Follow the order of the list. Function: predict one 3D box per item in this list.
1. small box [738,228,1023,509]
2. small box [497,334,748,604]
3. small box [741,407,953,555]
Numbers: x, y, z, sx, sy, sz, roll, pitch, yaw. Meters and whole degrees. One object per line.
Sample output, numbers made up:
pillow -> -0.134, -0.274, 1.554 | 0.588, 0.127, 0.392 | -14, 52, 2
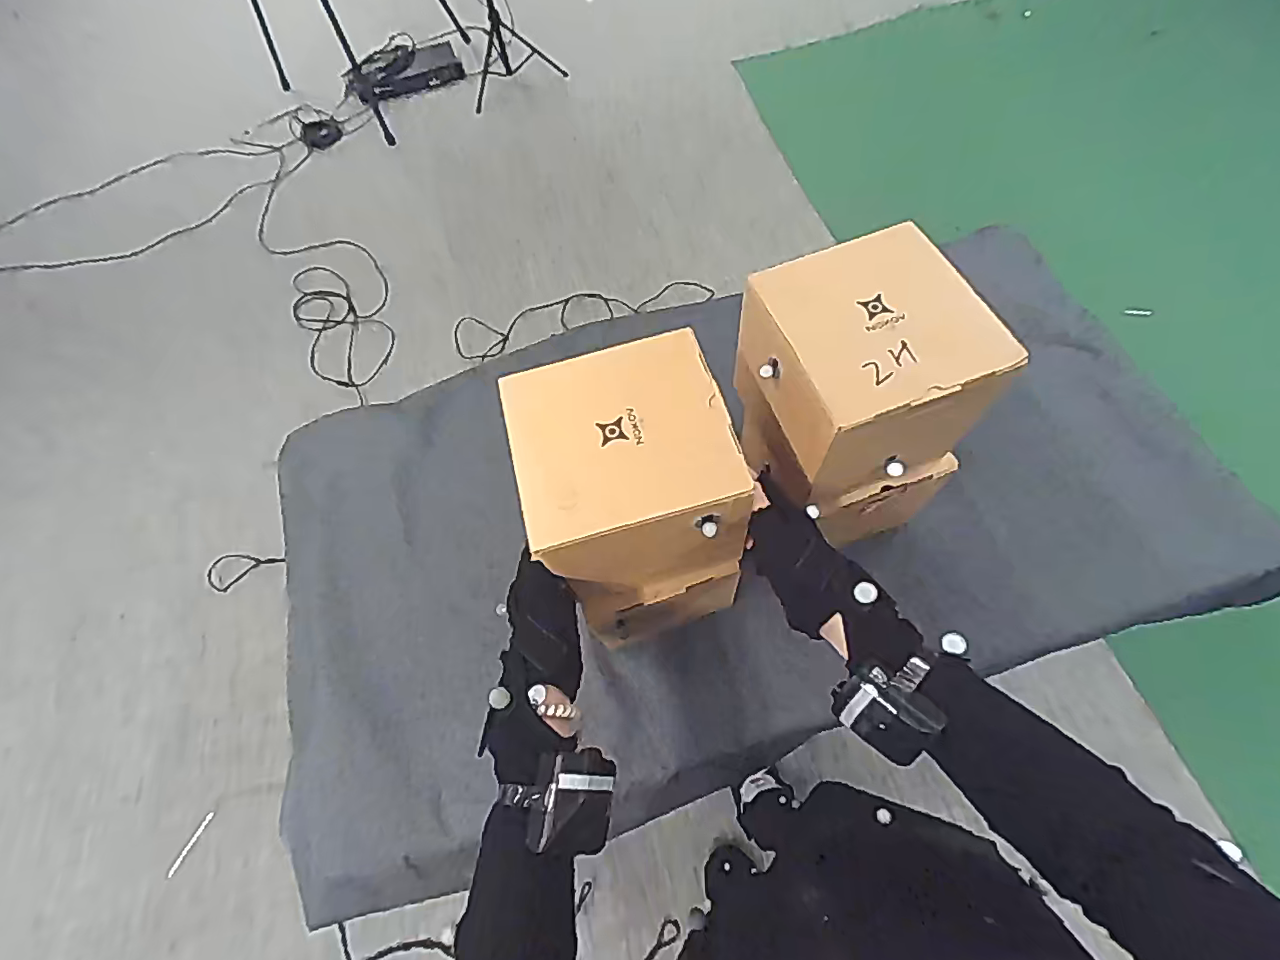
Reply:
small box -> 0.204, -0.098, 0.525 | 0.168, 0.176, 0.179 | -21, 65, -3
small box -> -0.013, 0.001, 0.501 | 0.179, 0.176, 0.168 | -16, 63, -2
small box -> 0.235, -0.021, 0.667 | 0.168, 0.176, 0.179 | -18, 64, -3
